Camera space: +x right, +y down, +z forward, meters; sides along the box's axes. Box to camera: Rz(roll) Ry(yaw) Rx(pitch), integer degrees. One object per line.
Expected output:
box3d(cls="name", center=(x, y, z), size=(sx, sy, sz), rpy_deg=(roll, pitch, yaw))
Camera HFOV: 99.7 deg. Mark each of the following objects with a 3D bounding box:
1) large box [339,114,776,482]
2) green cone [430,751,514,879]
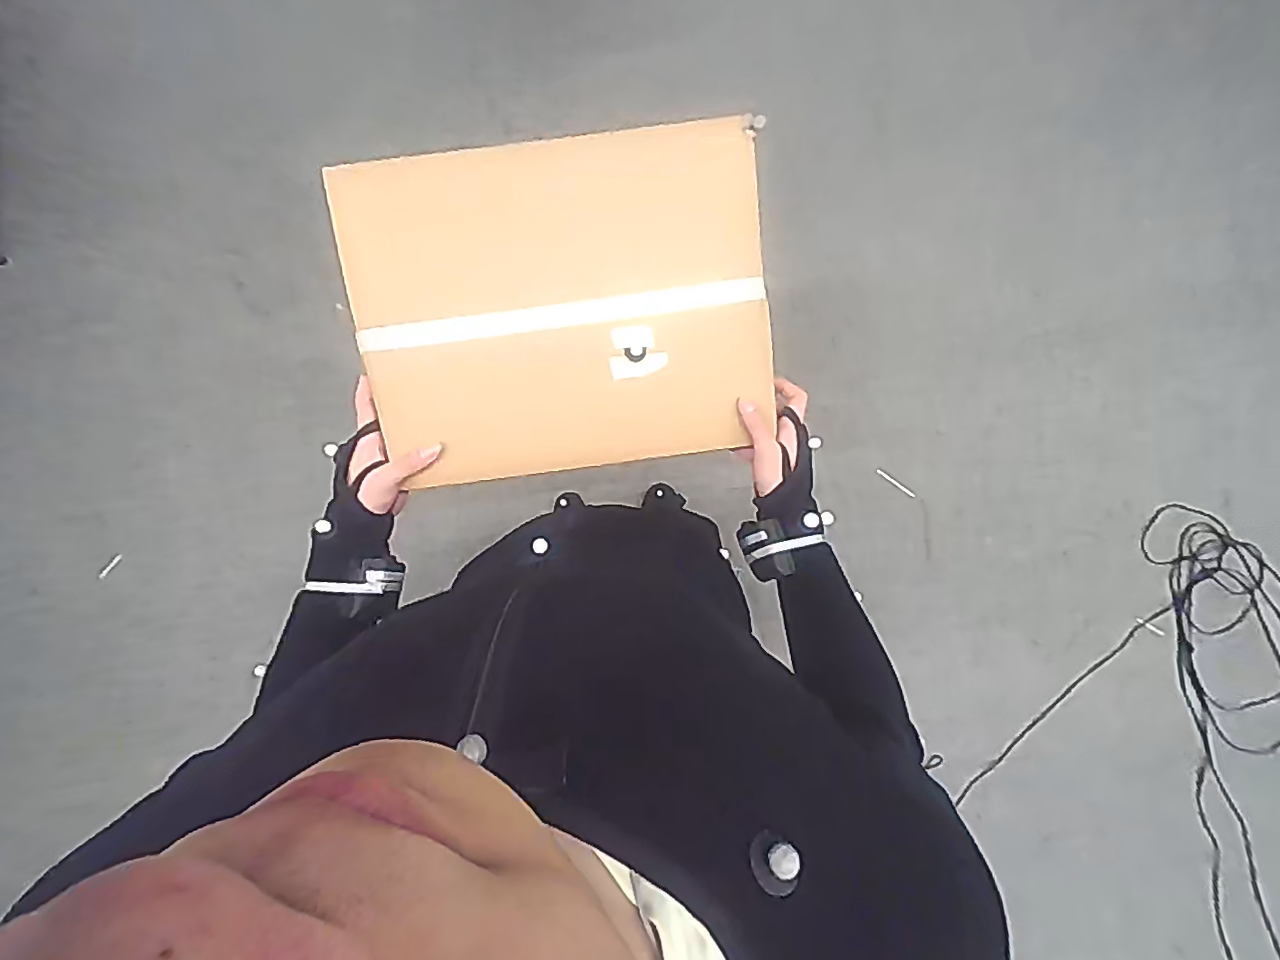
box3d(cls="large box", center=(-0.079, -0.203, 0.689), size=(0.408, 0.320, 0.320), rpy_deg=(-8, 103, -1))
box3d(cls="green cone", center=(-0.480, 0.916, 1.452), size=(0.200, 0.368, 0.202), rpy_deg=(-2, 90, 0))
